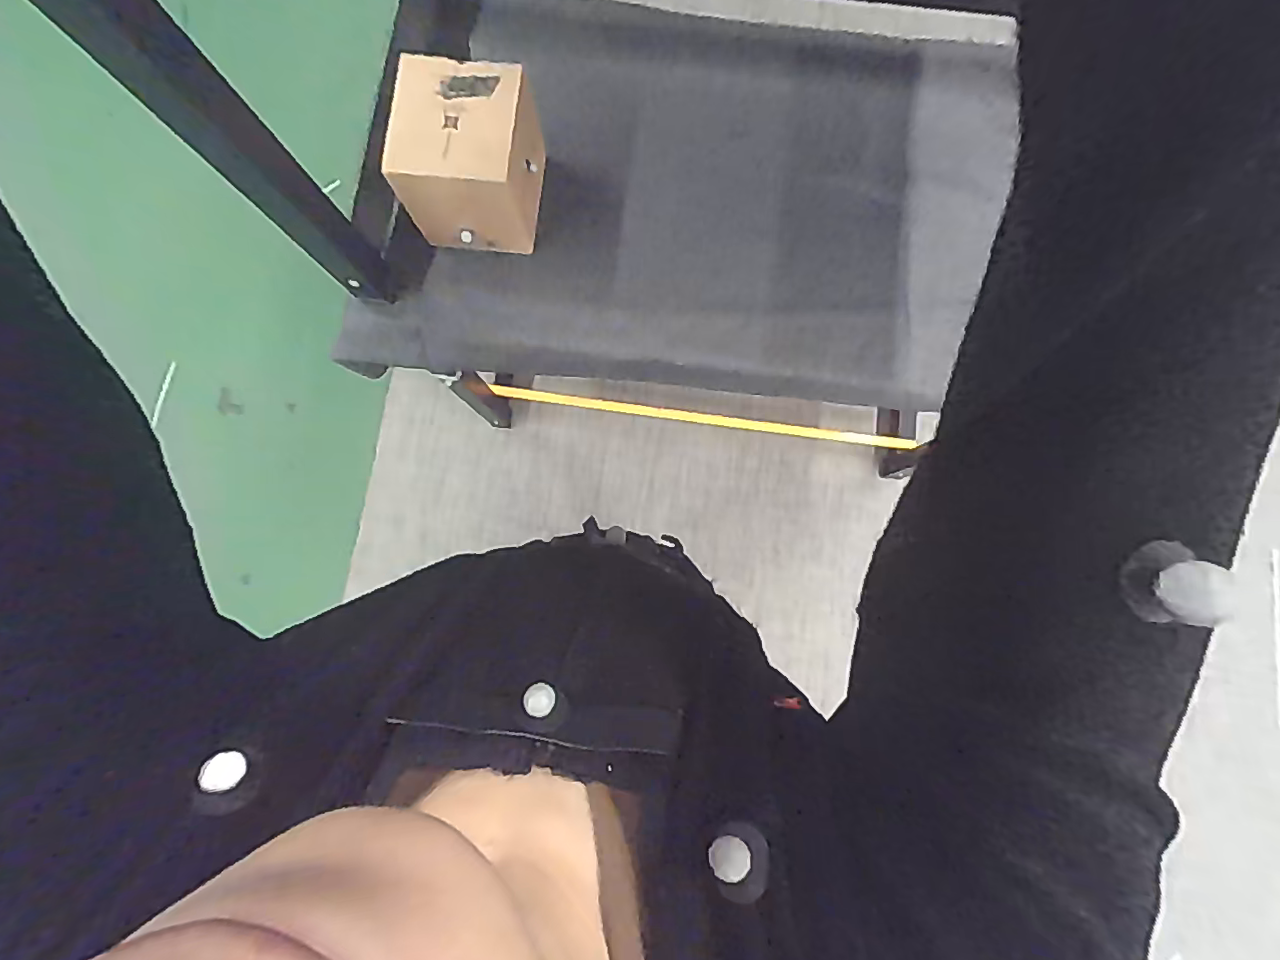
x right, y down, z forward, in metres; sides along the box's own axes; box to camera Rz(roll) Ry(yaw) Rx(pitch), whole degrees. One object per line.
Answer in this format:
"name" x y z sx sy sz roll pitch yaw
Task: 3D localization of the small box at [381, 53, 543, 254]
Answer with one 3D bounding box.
"small box" -0.240 -0.457 0.776 0.168 0.176 0.179 5 82 1
